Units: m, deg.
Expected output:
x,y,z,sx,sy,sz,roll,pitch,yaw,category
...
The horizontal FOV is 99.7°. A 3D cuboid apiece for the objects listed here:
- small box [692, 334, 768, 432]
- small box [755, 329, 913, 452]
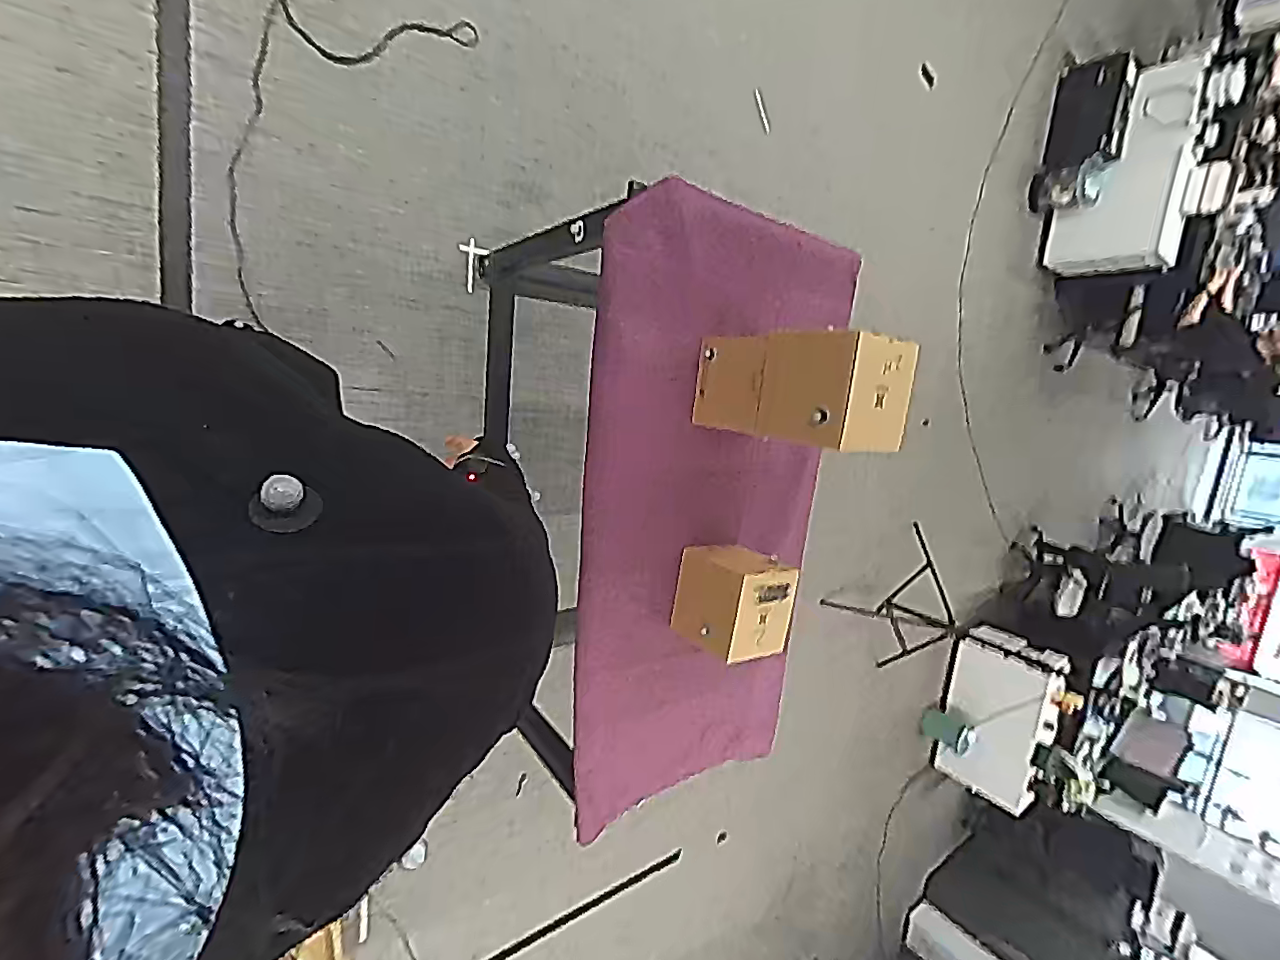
x,y,z,sx,sy,sz,roll,pitch,yaw,category
0.218,-0.177,1.019,0.179,0.176,0.168,-1,103,-37,small box
0.309,-0.147,0.884,0.168,0.176,0.179,-2,103,-37,small box
